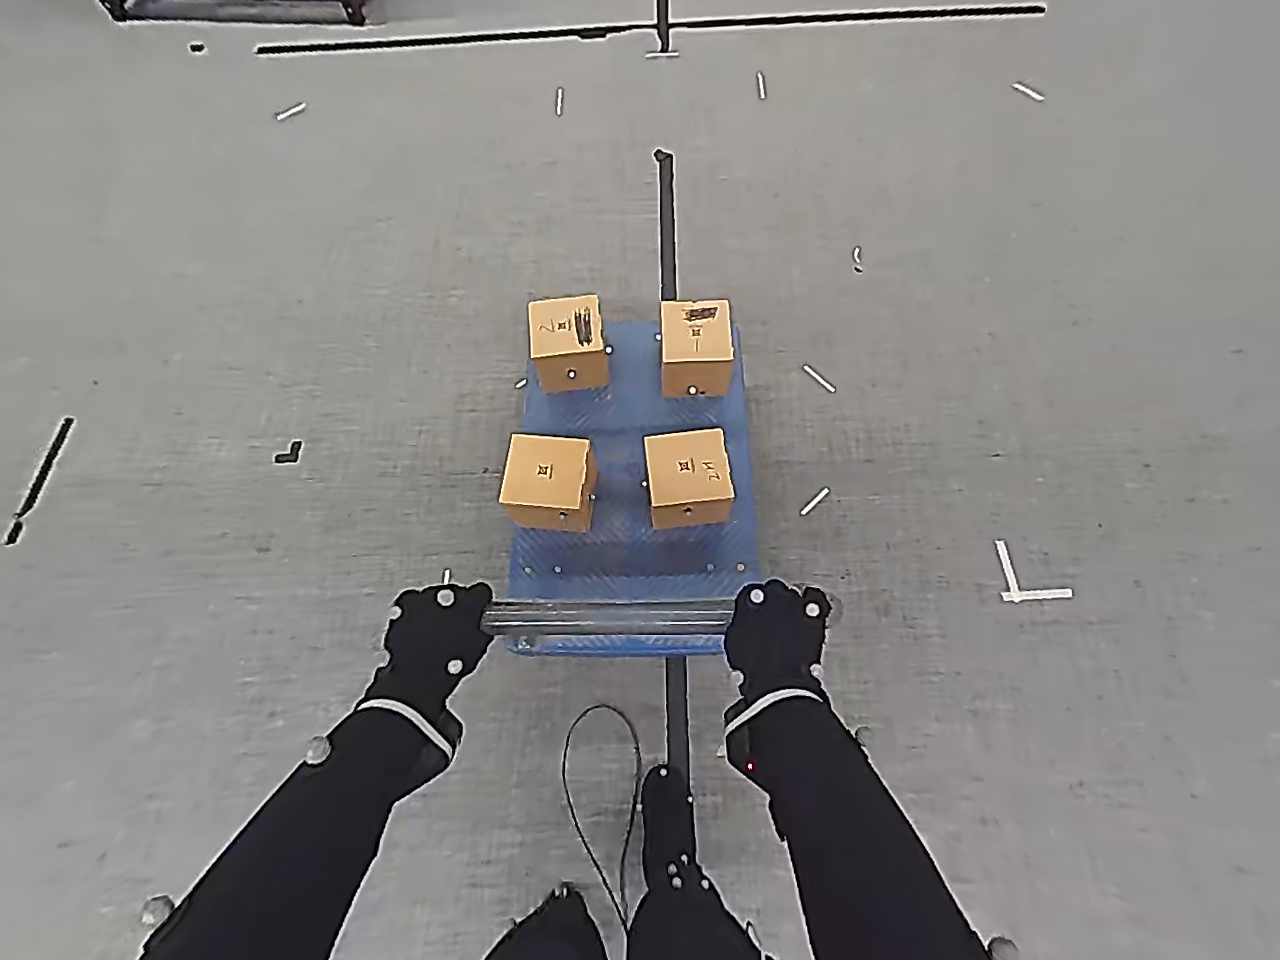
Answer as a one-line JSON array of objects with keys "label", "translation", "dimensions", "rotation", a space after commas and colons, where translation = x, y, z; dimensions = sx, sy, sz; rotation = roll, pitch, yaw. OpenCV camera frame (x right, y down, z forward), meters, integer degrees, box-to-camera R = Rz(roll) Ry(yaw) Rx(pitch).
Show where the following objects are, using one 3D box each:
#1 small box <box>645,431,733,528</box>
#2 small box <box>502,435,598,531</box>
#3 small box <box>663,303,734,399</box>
[{"label": "small box", "translation": [0.108, 0.005, 1.233], "dimensions": [0.179, 0.176, 0.168], "rotation": [-6, 68, 0]}, {"label": "small box", "translation": [-0.199, 0.012, 1.243], "dimensions": [0.179, 0.176, 0.168], "rotation": [5, 68, 3]}, {"label": "small box", "translation": [0.141, -0.321, 1.361], "dimensions": [0.168, 0.176, 0.179], "rotation": [-1, 69, 2]}]
